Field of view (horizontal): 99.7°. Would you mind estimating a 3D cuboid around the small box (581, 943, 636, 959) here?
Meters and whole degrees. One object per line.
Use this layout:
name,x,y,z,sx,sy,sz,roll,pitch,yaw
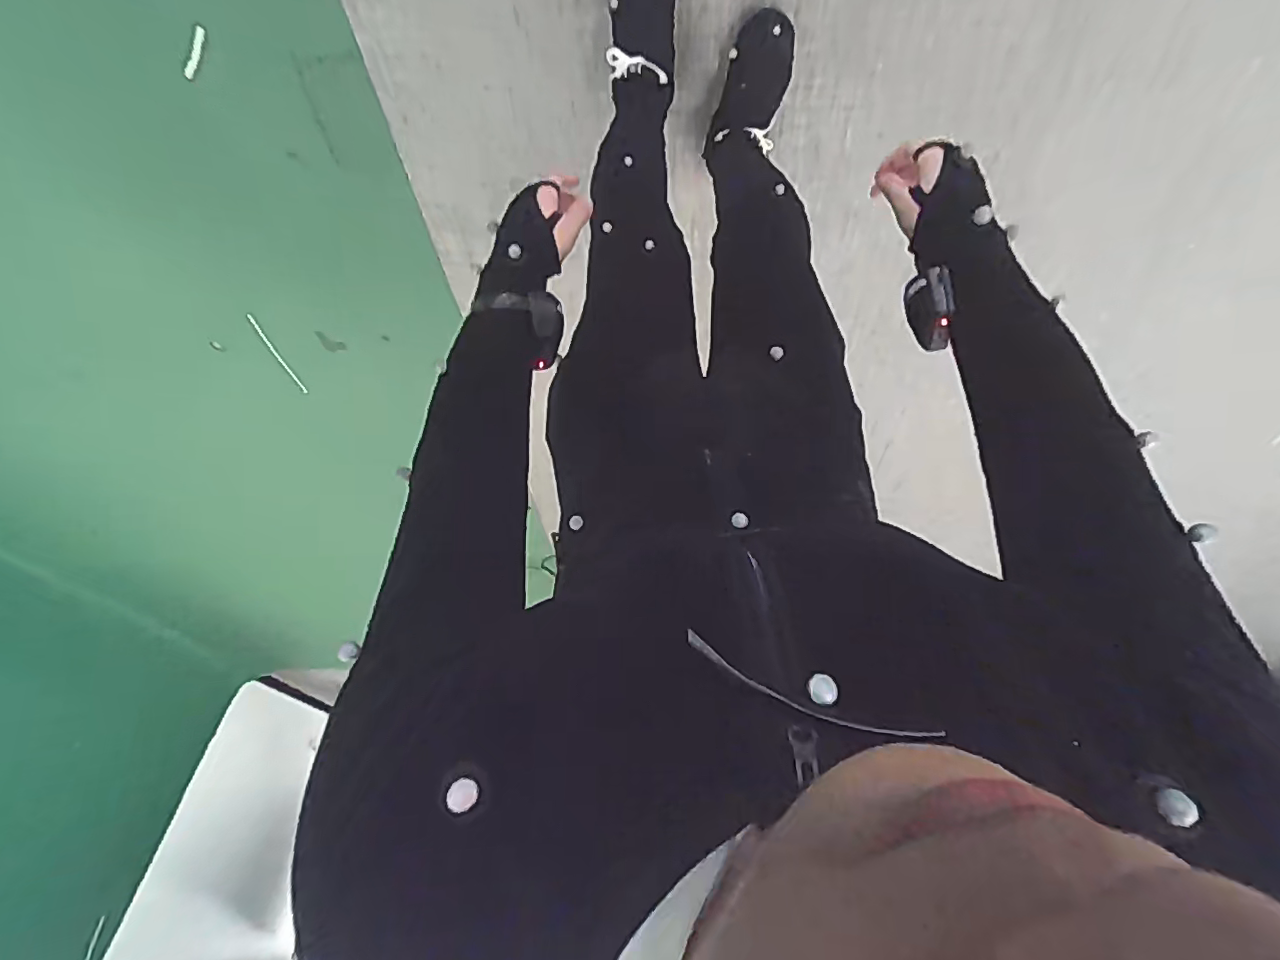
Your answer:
small box,-0.113,1.687,1.828,0.179,0.176,0.168,-1,144,6
